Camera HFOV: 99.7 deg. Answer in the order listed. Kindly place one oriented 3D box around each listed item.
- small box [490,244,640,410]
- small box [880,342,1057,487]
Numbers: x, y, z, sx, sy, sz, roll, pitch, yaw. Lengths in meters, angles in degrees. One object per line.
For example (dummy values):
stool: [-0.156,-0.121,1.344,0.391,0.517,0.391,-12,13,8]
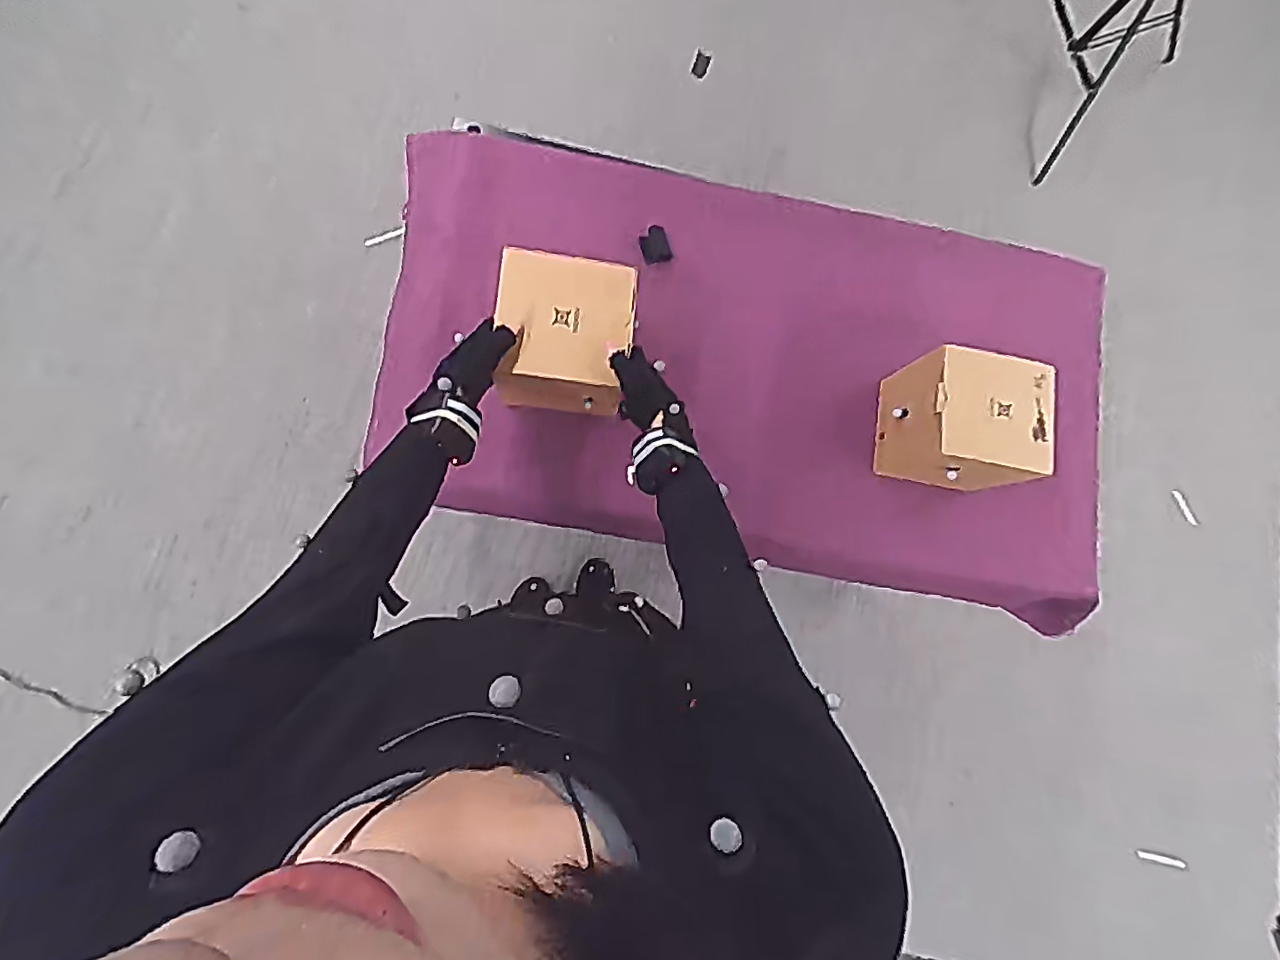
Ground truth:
small box: [-0.102,-0.201,0.761,0.179,0.176,0.168,6,83,-6]
small box: [0.497,-0.090,0.837,0.179,0.176,0.168,10,80,-4]
